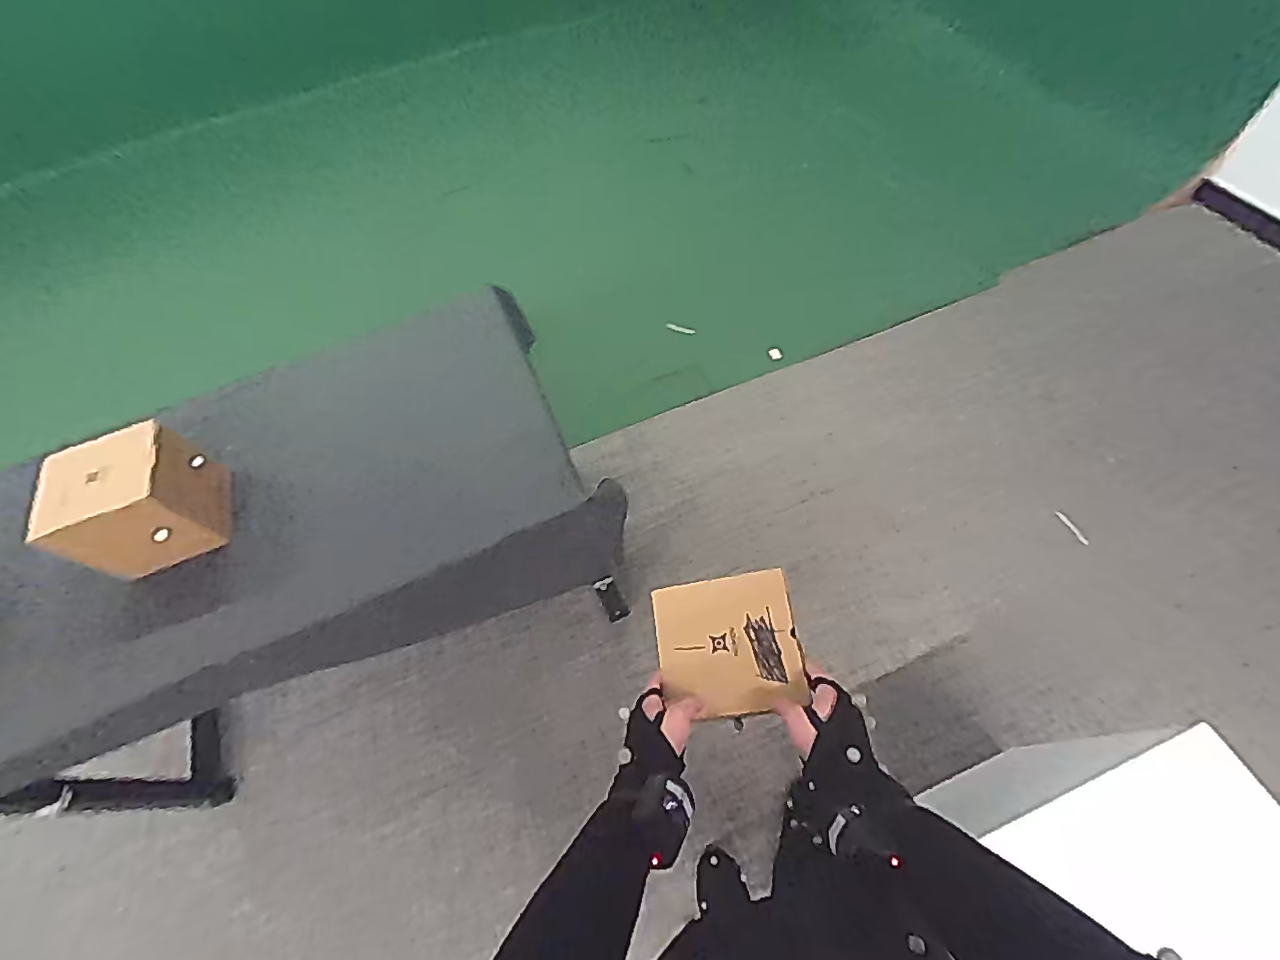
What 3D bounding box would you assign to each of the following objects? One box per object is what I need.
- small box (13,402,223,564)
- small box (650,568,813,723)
[{"bbox_3d":[-0.819,0.010,0.874,0.179,0.176,0.168,-22,59,-7],"label":"small box"},{"bbox_3d":[0.122,0.229,0.725,0.179,0.176,0.168,-12,63,11],"label":"small box"}]
